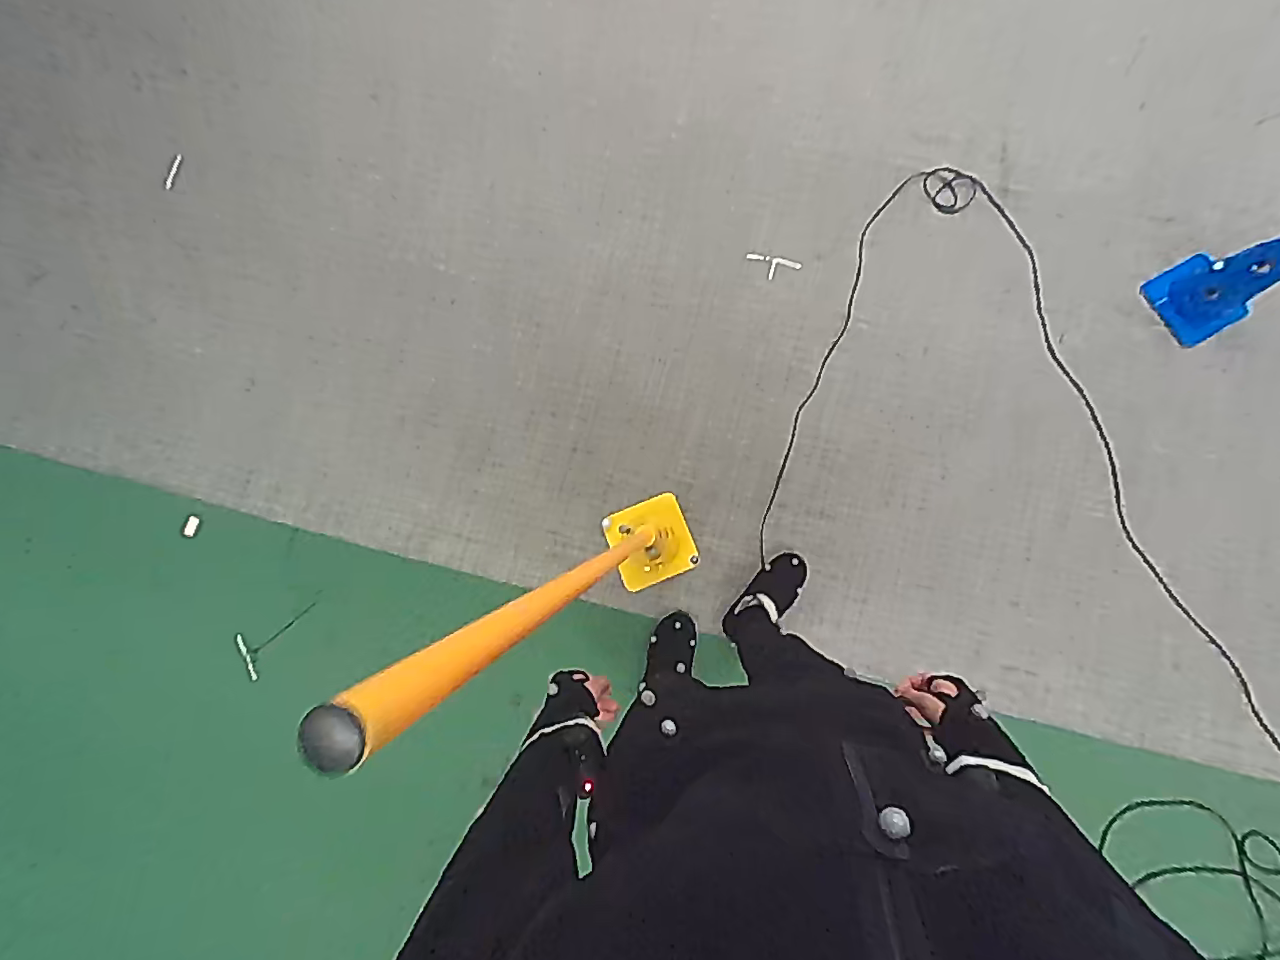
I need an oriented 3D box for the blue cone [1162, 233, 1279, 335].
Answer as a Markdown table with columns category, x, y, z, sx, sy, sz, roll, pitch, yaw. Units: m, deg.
| category | x | y | z | sx | sy | sz | roll | pitch | yaw |
| --- | --- | --- | --- | --- | --- | --- | --- | --- | --- |
| blue cone | 1.408 | -0.500 | 1.177 | 0.193 | 0.380 | 0.192 | -31 | 81 | -3 |
